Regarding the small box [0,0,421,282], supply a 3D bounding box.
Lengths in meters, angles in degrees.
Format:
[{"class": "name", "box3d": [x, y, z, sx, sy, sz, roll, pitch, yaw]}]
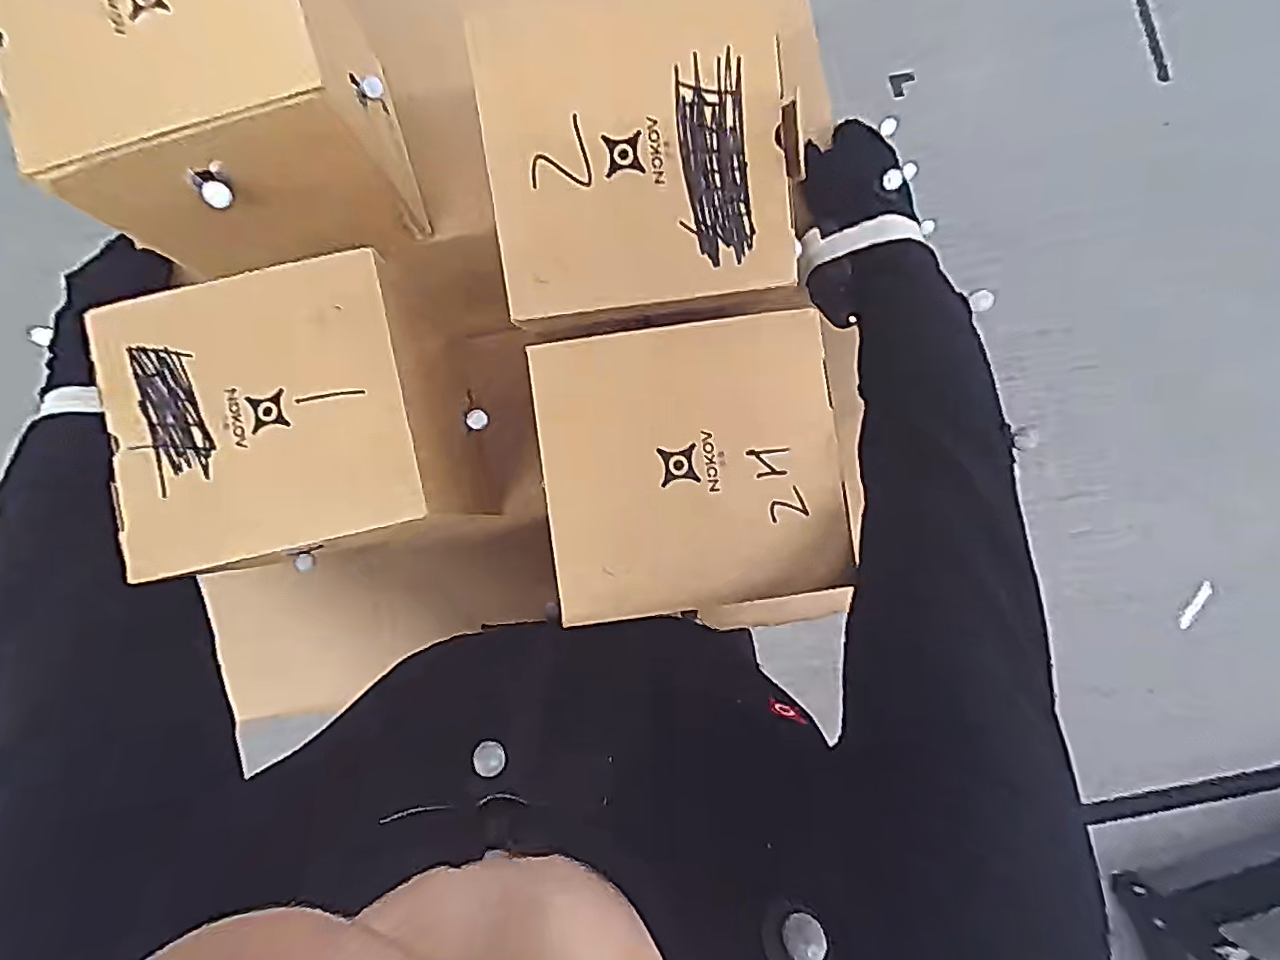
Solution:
[{"class": "small box", "box3d": [-0.279, -0.270, 0.387, 0.179, 0.176, 0.168, -17, 87, 0]}]
